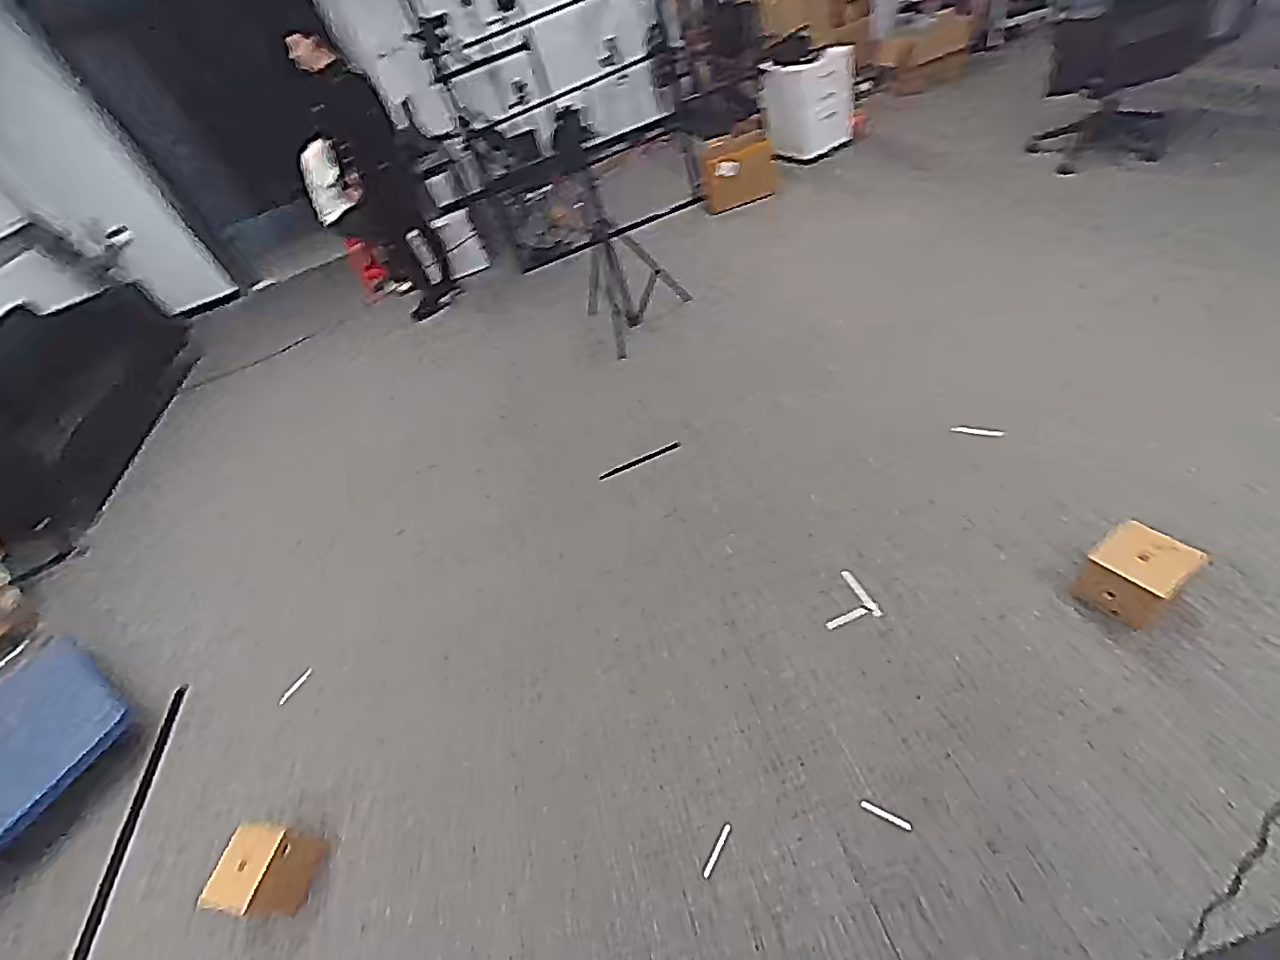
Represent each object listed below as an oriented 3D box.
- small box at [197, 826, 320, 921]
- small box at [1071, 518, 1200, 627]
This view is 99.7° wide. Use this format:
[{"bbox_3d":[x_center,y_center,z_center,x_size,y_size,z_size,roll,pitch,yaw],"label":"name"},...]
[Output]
[{"bbox_3d":[-1.004,1.053,1.444,0.168,0.176,0.179,-5,45,17],"label":"small box"},{"bbox_3d":[1.239,0.238,1.370,0.179,0.176,0.168,-34,44,-13],"label":"small box"}]
